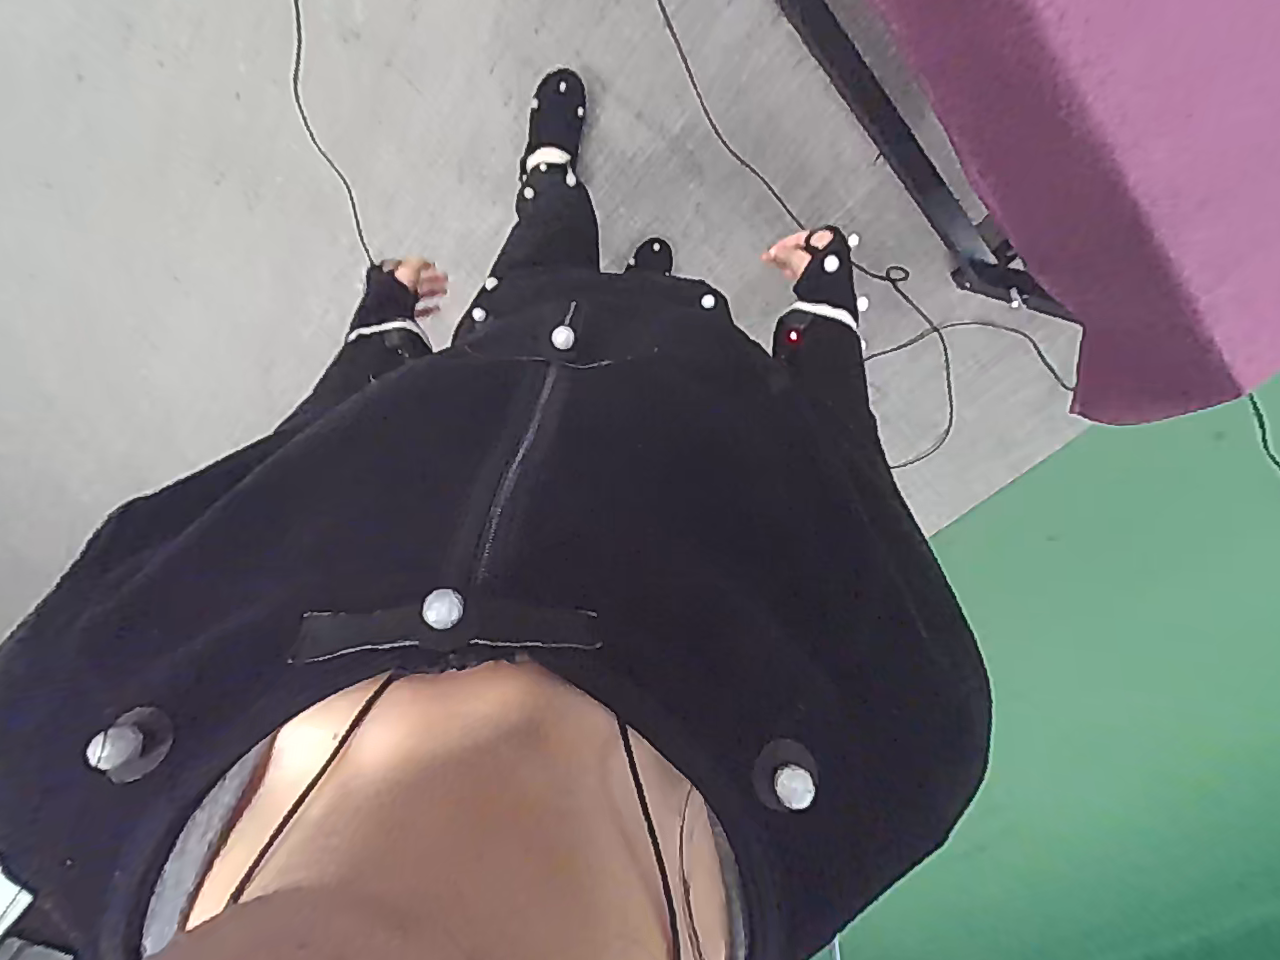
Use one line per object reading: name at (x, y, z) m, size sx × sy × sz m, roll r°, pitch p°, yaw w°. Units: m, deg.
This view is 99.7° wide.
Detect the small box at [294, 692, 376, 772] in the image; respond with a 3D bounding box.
small box at (-1.094, 0.910, 1.954) m, size 0.179 × 0.176 × 0.168 m, roll -41°, pitch 112°, yaw 19°
